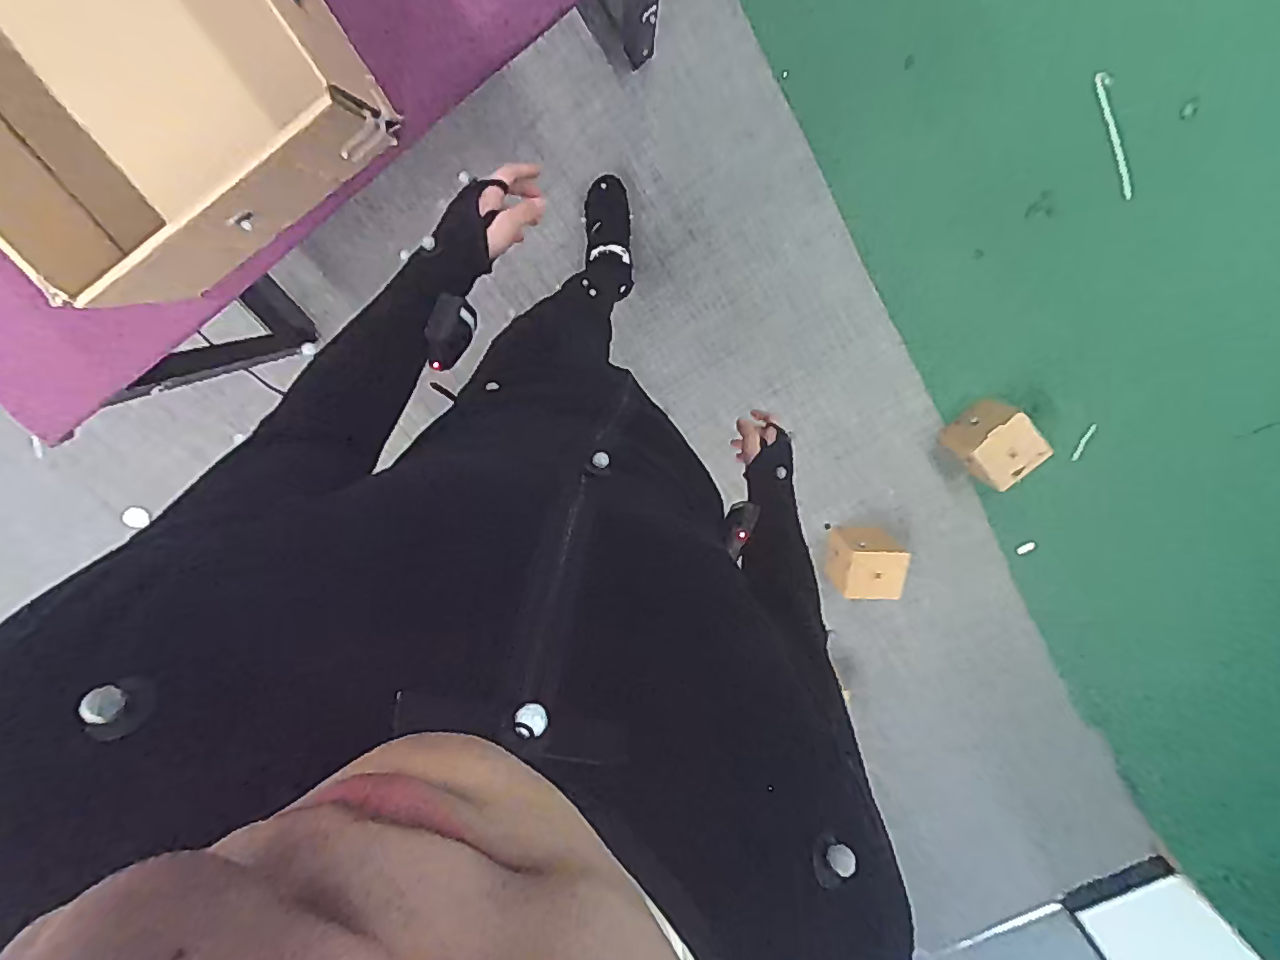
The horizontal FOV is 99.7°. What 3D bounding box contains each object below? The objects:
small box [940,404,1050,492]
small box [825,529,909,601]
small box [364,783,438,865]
[{"bbox_3d":[1.012,-0.101,1.558,0.168,0.176,0.179,-43,106,14],"label":"small box"},{"bbox_3d":[0.702,0.263,1.692,0.179,0.176,0.168,1,111,-1],"label":"small box"},{"bbox_3d":[-0.889,1.292,2.040,0.179,0.176,0.168,-36,107,11],"label":"small box"}]
